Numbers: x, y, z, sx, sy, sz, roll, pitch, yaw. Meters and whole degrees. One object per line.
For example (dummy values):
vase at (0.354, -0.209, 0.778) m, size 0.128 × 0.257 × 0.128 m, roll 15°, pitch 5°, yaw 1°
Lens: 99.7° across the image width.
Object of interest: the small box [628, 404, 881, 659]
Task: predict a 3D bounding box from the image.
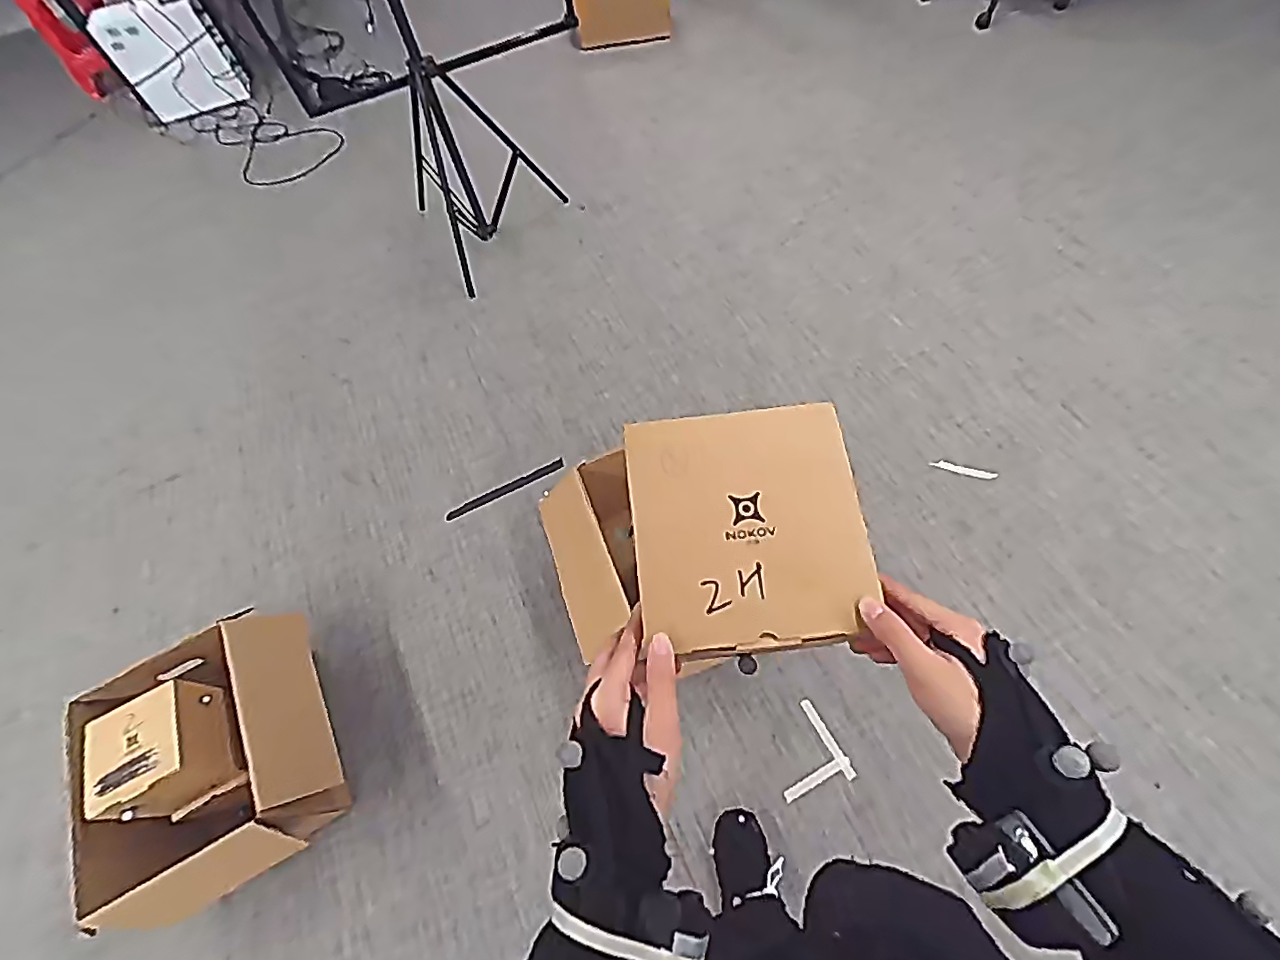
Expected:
small box at (0.079, 0.055, 0.470) m, size 0.168 × 0.176 × 0.179 m, roll -6°, pitch 70°, yaw 1°
